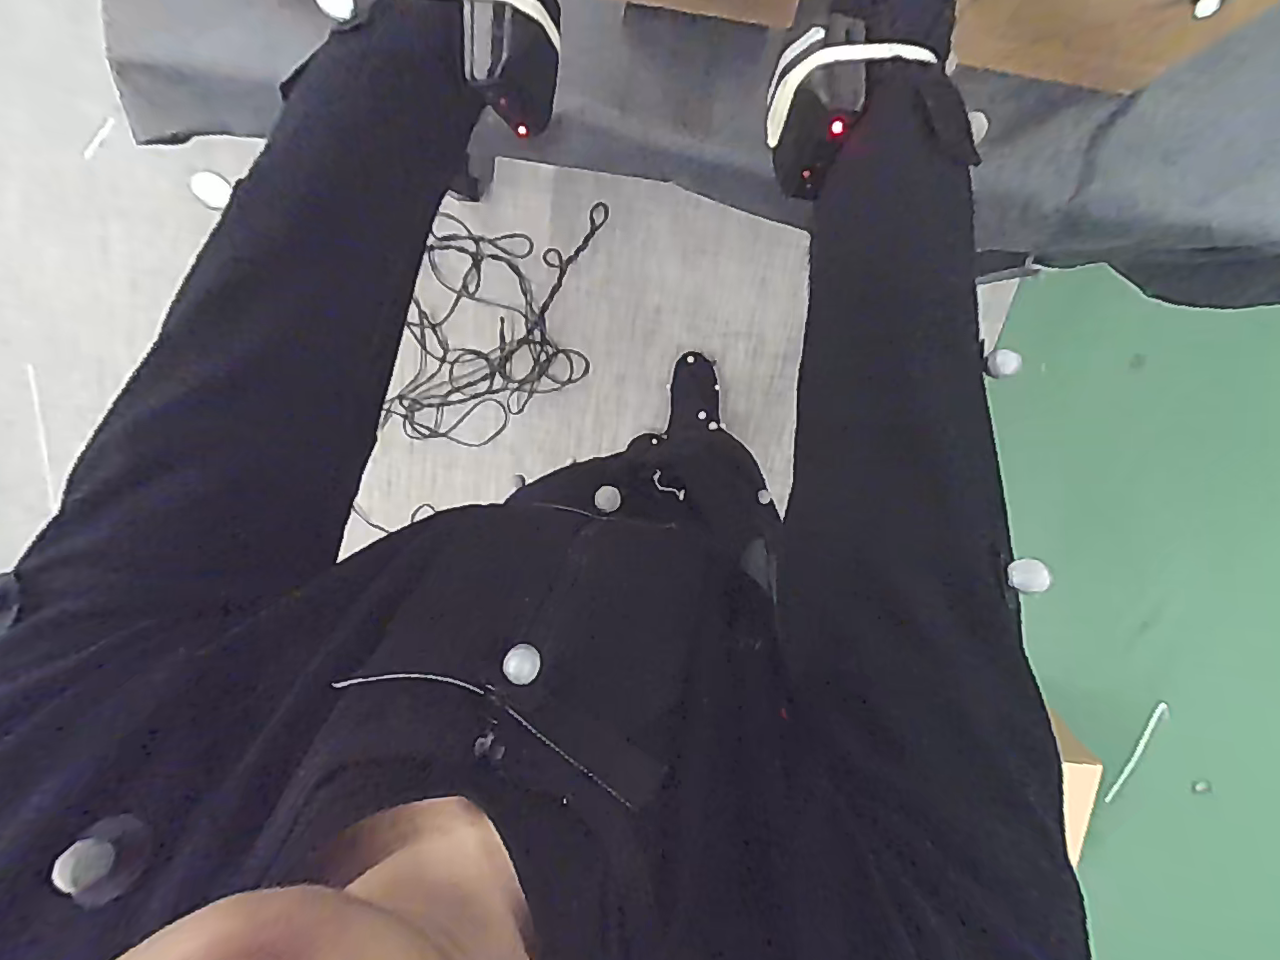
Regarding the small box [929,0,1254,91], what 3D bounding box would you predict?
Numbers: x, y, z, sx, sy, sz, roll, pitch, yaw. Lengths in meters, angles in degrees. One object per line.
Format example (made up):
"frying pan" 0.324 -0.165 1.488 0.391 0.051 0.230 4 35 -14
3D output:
"small box" 0.330 -0.398 0.364 0.179 0.176 0.168 14 107 5
